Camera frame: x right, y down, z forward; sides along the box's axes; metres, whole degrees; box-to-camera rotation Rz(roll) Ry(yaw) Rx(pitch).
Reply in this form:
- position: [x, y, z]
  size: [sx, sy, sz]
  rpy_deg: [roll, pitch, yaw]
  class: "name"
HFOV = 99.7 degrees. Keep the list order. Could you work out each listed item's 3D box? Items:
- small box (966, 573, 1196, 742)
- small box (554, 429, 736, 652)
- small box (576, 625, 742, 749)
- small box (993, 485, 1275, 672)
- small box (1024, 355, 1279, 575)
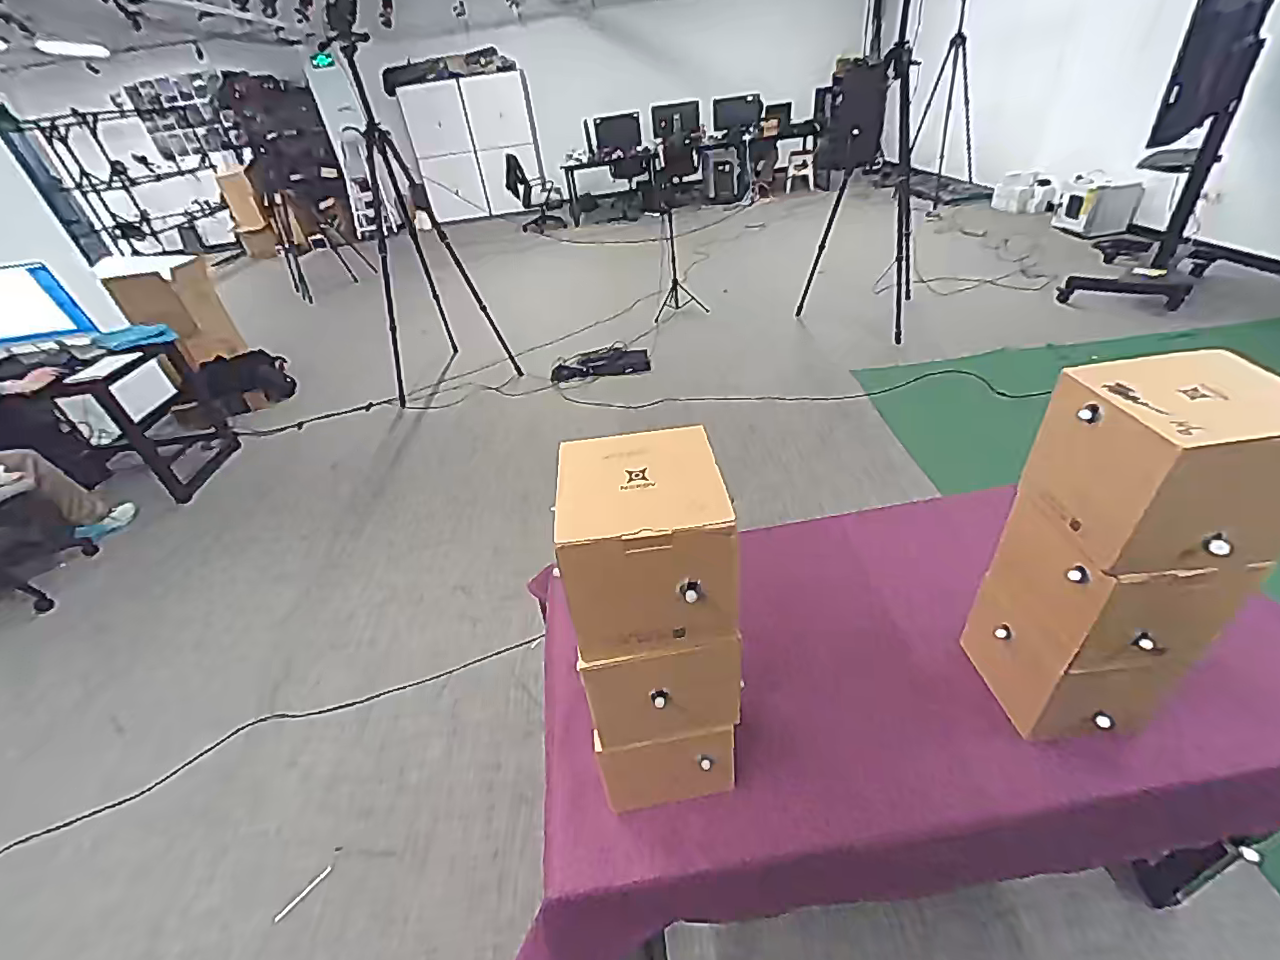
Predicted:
- position: [0.606, 0.244, 0.778]
  size: [0.168, 0.176, 0.179]
  rpy_deg: [-8, 36, 2]
  class: "small box"
- position: [0.007, 0.068, 0.584]
  size: [0.168, 0.176, 0.179]
  rpy_deg: [-7, 35, -1]
  class: "small box"
- position: [0.020, 0.204, 0.673]
  size: [0.179, 0.176, 0.168]
  rpy_deg: [-10, 36, -3]
  class: "small box"
- position: [0.589, 0.113, 0.682]
  size: [0.168, 0.176, 0.179]
  rpy_deg: [-8, 37, 1]
  class: "small box"
- position: [0.568, -0.016, 0.583]
  size: [0.179, 0.176, 0.168]
  rpy_deg: [-6, 36, 2]
  class: "small box"
